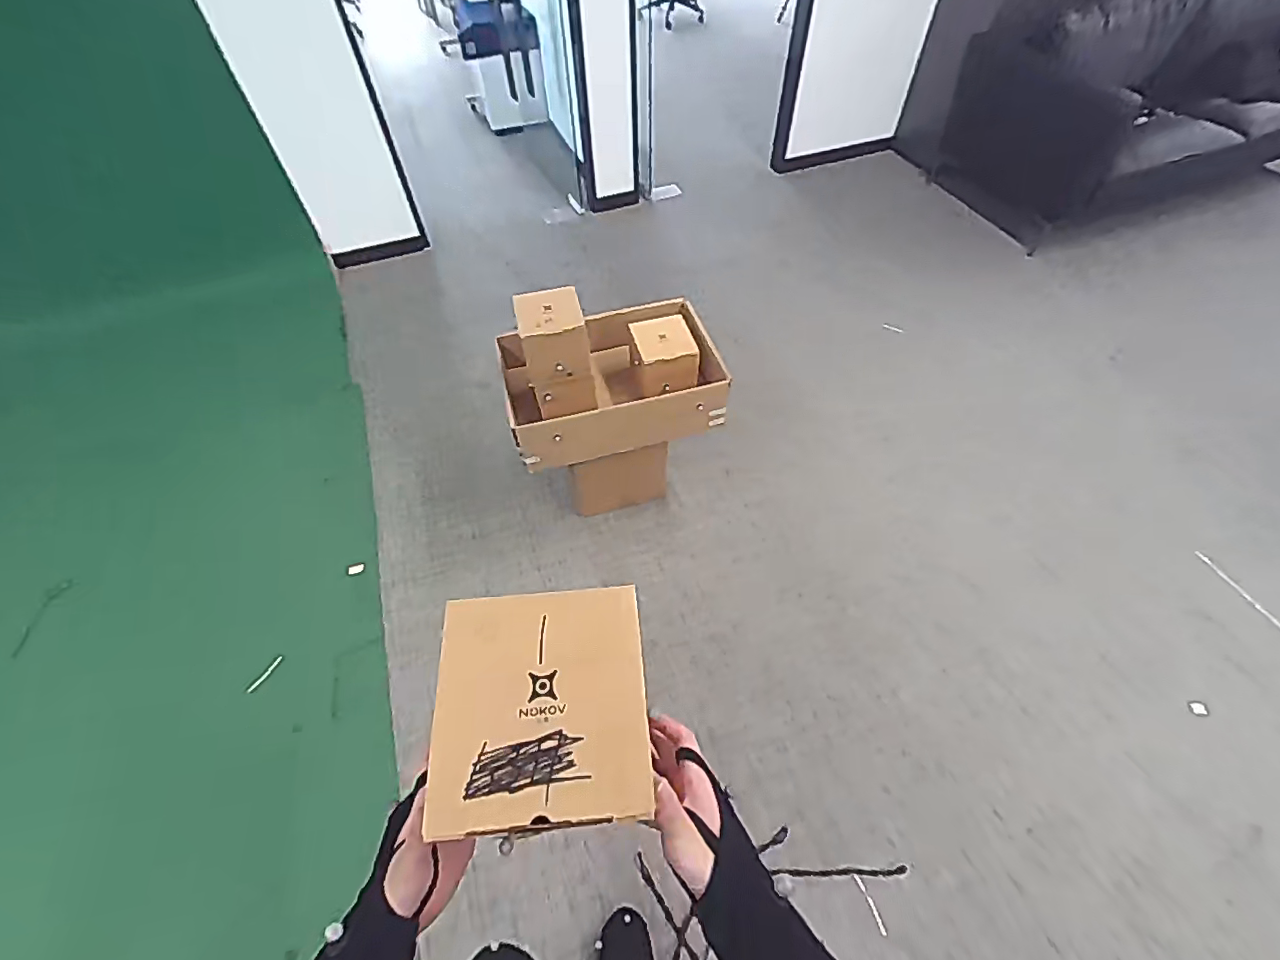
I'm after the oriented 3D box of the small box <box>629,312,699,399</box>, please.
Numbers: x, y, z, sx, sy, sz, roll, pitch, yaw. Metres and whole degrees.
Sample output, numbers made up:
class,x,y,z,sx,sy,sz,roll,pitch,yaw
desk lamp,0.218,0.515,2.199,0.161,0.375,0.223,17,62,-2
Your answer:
class,x,y,z,sx,sy,sz,roll,pitch,yaw
small box,0.067,-0.370,1.613,0.168,0.176,0.179,-14,56,-8

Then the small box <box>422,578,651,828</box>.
class,x,y,z,sx,sy,sz,roll,pitch,yaw
small box,-0.078,0.207,0.493,0.168,0.176,0.179,-4,57,-2

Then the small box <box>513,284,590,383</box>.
class,x,y,z,sx,sy,sz,roll,pitch,yaw
small box,-0.232,-0.387,1.431,0.168,0.176,0.179,-13,55,-6
